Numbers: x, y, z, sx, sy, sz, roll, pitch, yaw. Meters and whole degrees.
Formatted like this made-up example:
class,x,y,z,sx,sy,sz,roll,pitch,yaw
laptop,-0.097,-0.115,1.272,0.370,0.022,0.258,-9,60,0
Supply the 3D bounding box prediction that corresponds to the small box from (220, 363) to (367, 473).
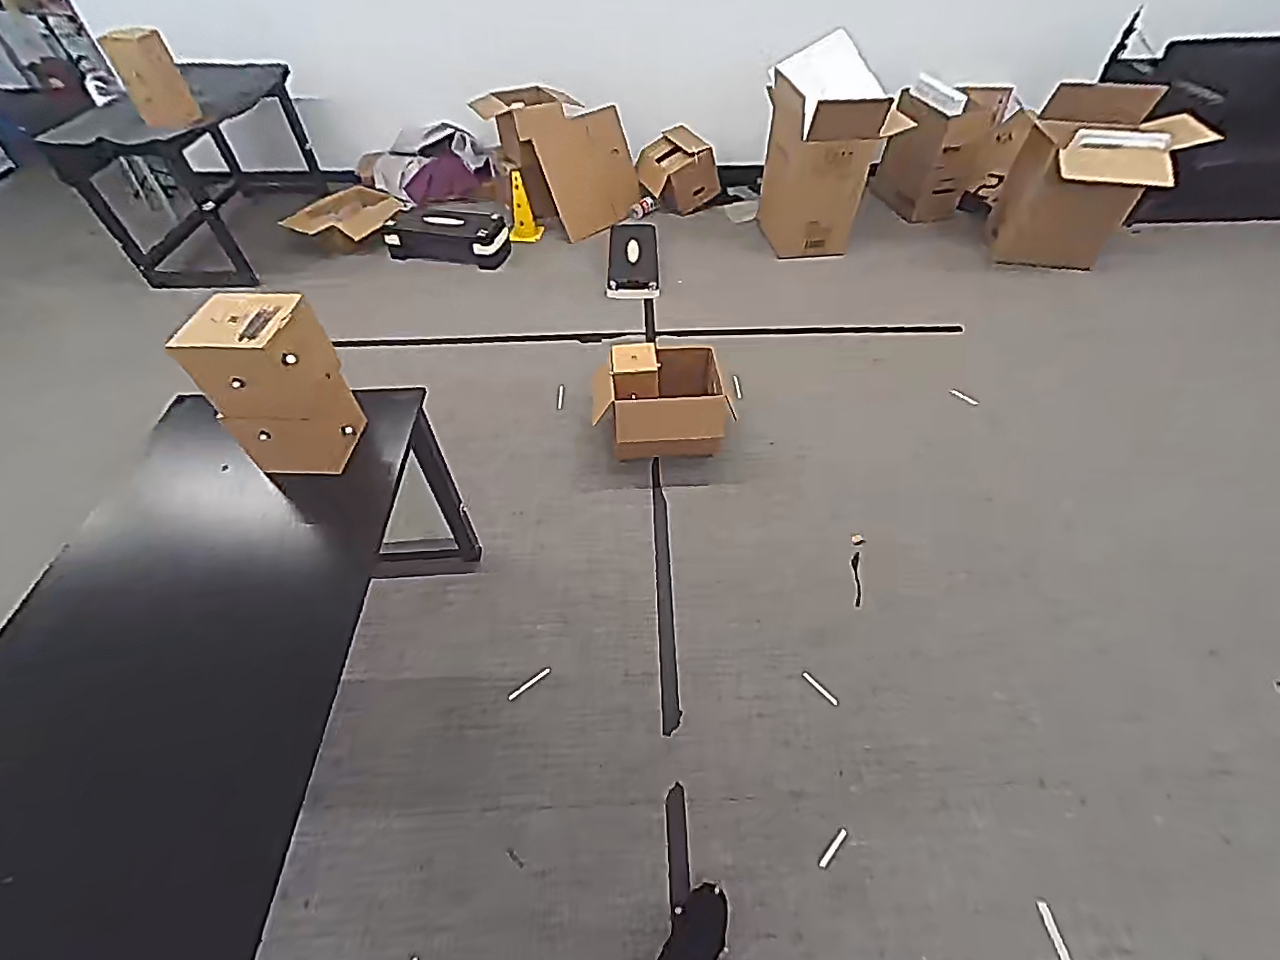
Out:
class,x,y,z,sx,sy,sz,roll,pitch,yaw
small box,-0.721,-0.130,1.149,0.179,0.176,0.168,2,51,2
